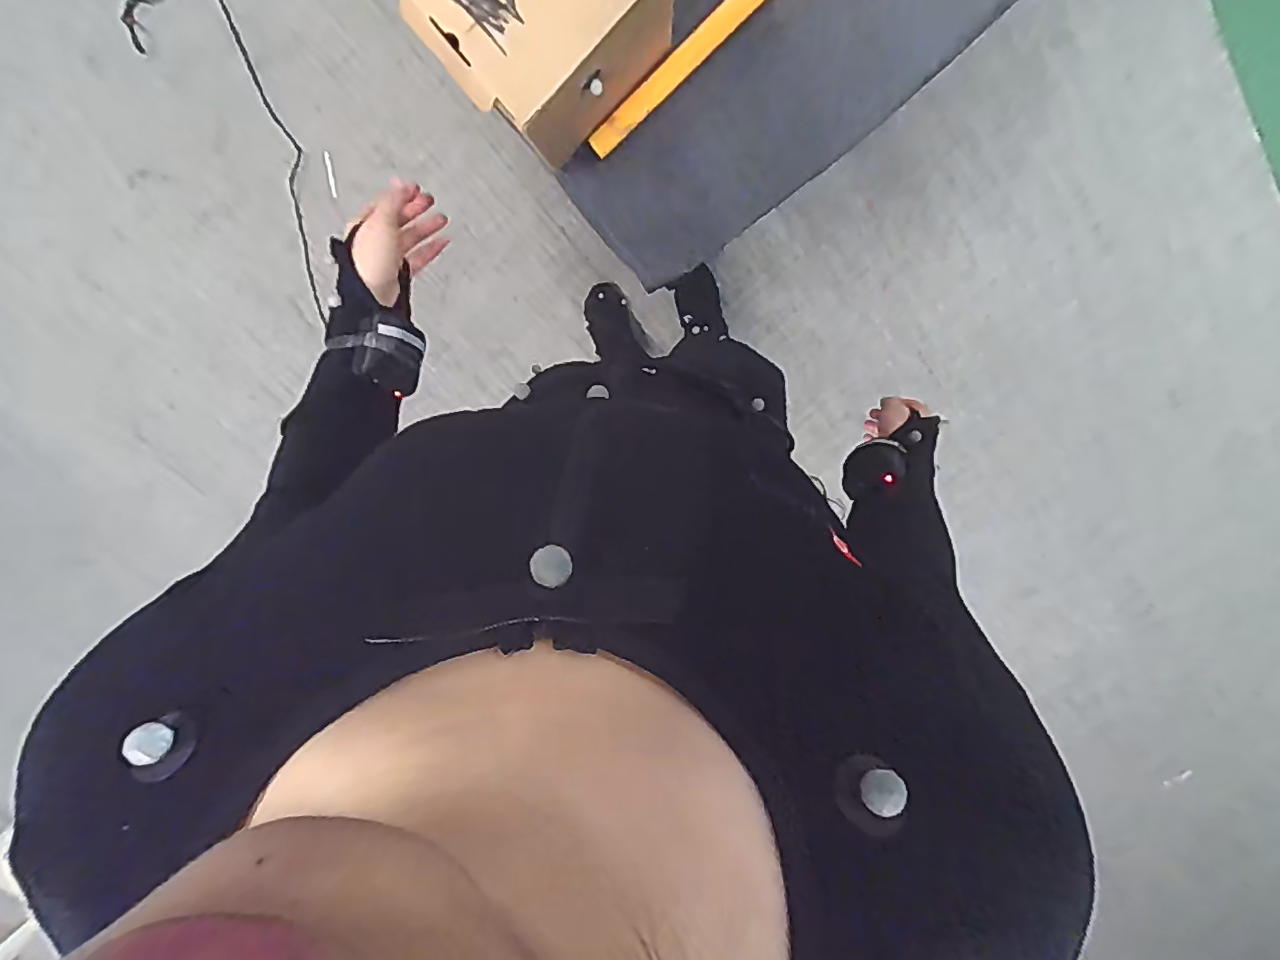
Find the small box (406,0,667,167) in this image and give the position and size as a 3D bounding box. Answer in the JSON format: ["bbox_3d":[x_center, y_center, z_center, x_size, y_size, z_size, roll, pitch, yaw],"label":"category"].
[{"bbox_3d":[-0.085,-0.427,0.495,0.179,0.176,0.168,-41,104,13],"label":"small box"}]

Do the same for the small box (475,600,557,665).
[{"bbox_3d":[-0.367,0.499,1.642,0.179,0.176,0.168,-42,106,15],"label":"small box"}]
